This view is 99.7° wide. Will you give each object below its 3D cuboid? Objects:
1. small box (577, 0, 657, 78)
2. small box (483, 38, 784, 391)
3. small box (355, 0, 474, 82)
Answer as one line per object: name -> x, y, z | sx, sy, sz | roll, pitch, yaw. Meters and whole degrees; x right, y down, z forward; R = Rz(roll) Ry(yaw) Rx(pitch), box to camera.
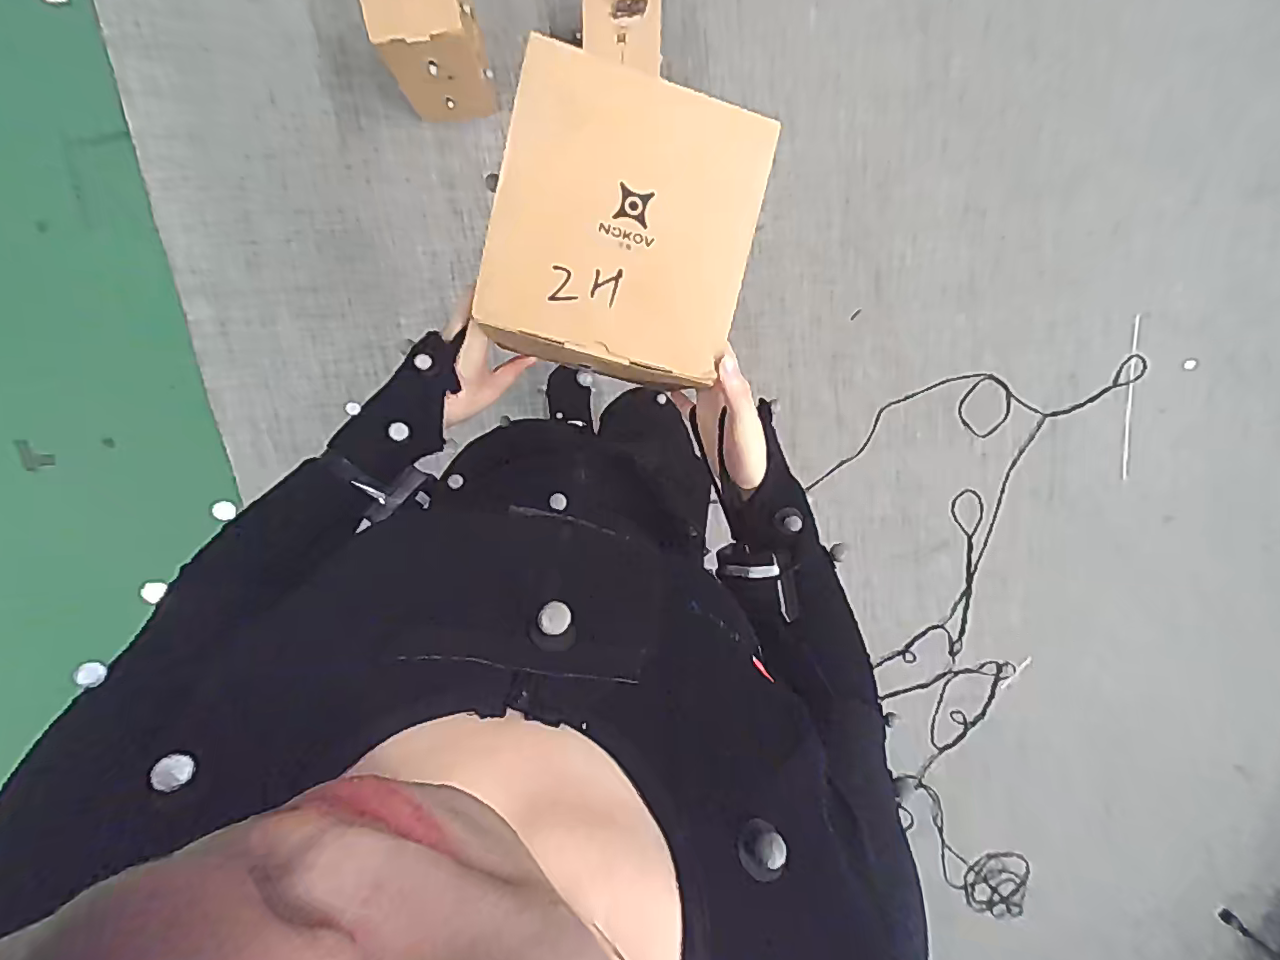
small box -> -0.055, -0.944, 1.197 | 0.168, 0.176, 0.179 | -1, 105, -6
small box -> -0.015, -0.176, 0.425 | 0.168, 0.176, 0.179 | 13, 95, -10
small box -> -0.420, -0.874, 1.005 | 0.168, 0.176, 0.179 | -10, 105, -3
